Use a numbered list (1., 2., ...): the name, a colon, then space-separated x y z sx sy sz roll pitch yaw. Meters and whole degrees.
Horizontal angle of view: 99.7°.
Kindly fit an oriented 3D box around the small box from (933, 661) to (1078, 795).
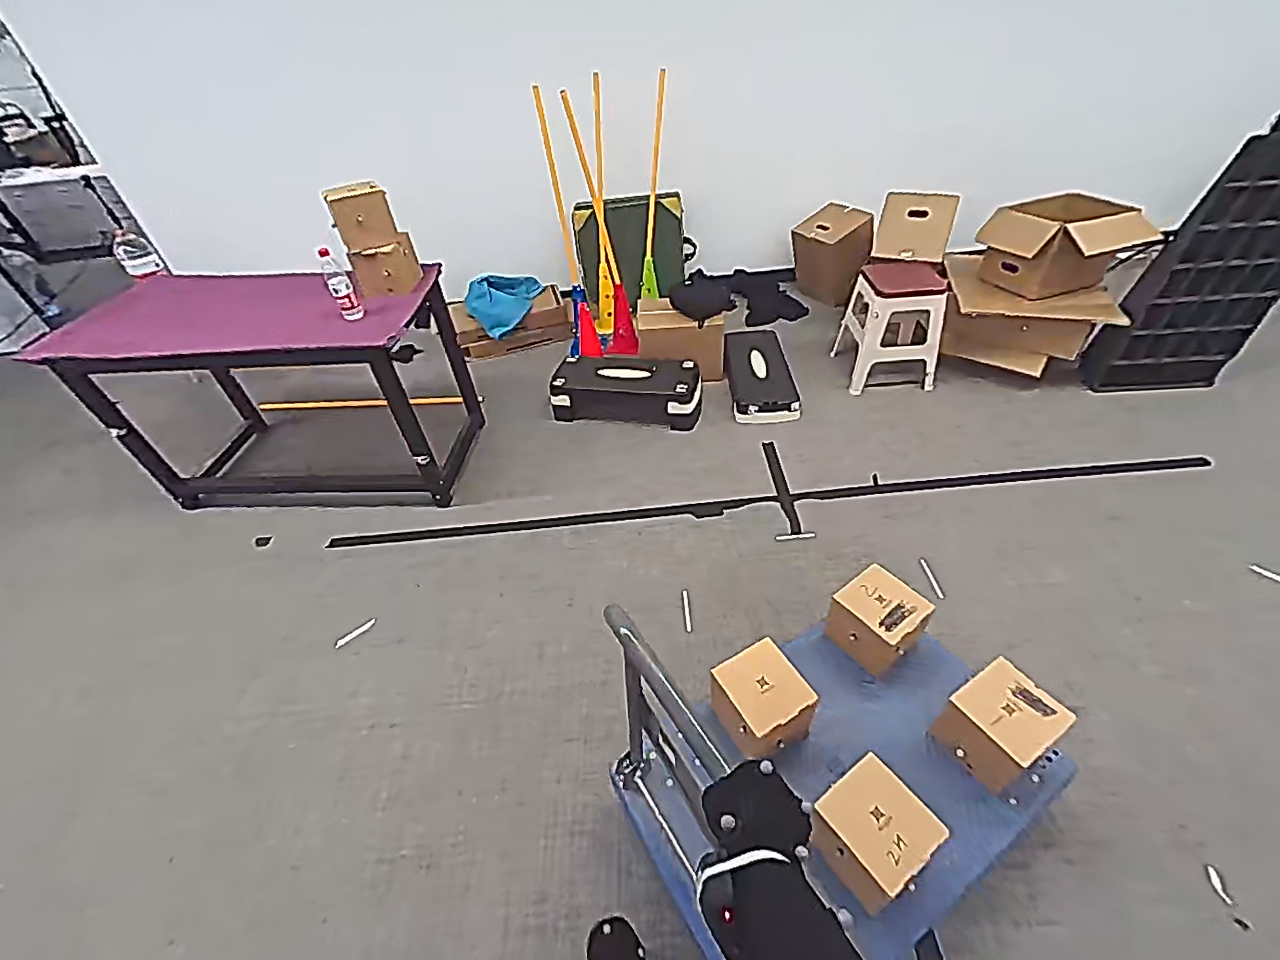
1. small box: 0.766 0.528 1.154 0.179 0.176 0.168 -25 46 -18

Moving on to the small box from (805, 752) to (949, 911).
1. small box: 0.440 0.673 1.035 0.168 0.176 0.179 -27 47 -21

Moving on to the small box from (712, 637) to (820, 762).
1. small box: 0.277 0.502 1.235 0.168 0.176 0.179 -23 47 -18
